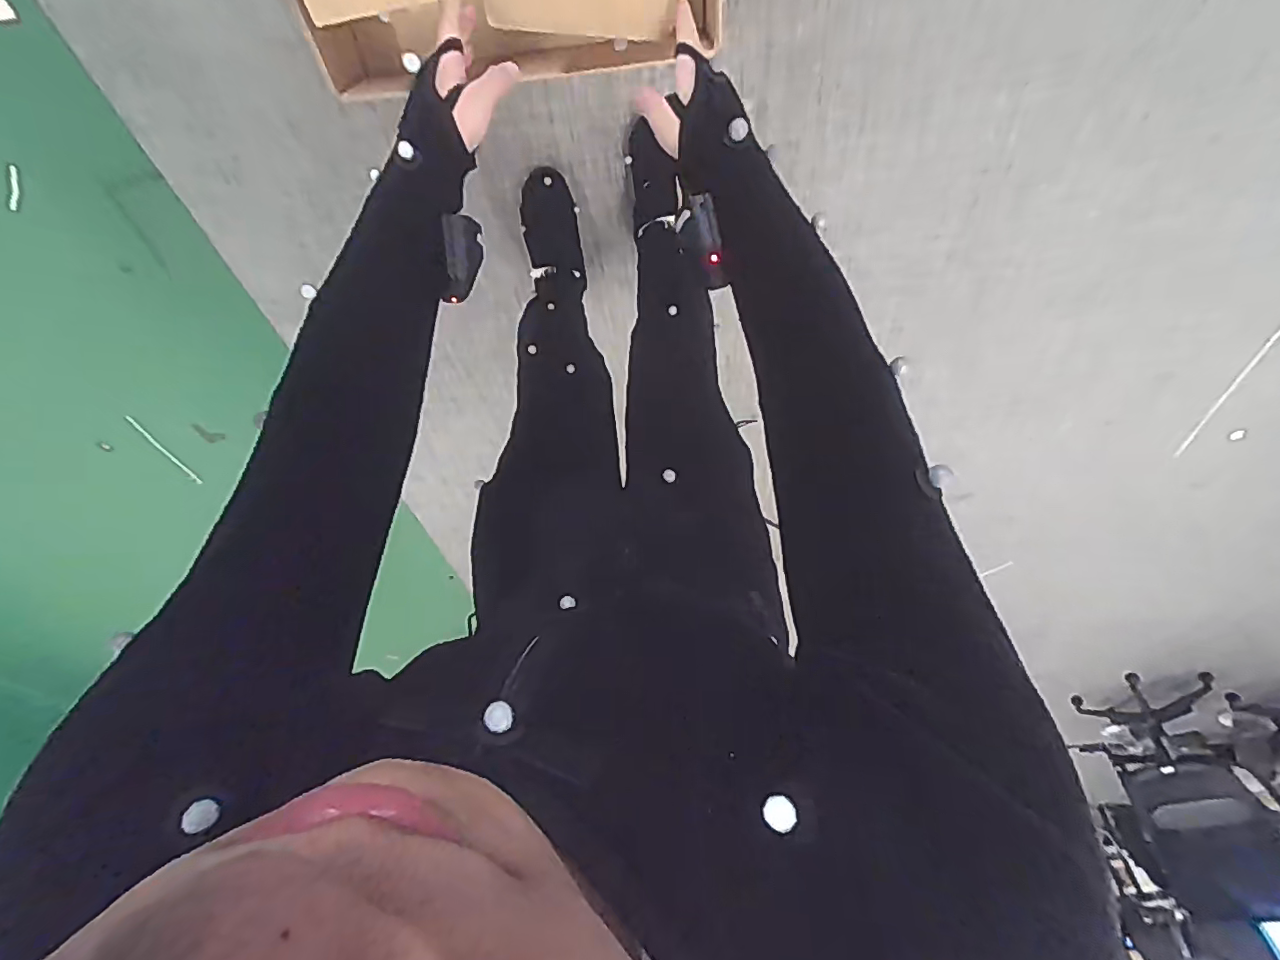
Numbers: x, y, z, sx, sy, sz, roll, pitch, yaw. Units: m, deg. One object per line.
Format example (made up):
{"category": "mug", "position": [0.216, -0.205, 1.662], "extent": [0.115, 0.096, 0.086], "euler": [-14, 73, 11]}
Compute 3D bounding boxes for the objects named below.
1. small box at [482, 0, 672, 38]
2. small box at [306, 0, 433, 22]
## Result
{"category": "small box", "position": [-0.053, -0.540, 0.501], "extent": [0.179, 0.176, 0.168], "euler": [4, 140, -2]}
{"category": "small box", "position": [-0.316, -0.667, 0.621], "extent": [0.168, 0.176, 0.179], "euler": [-6, 138, 6]}
